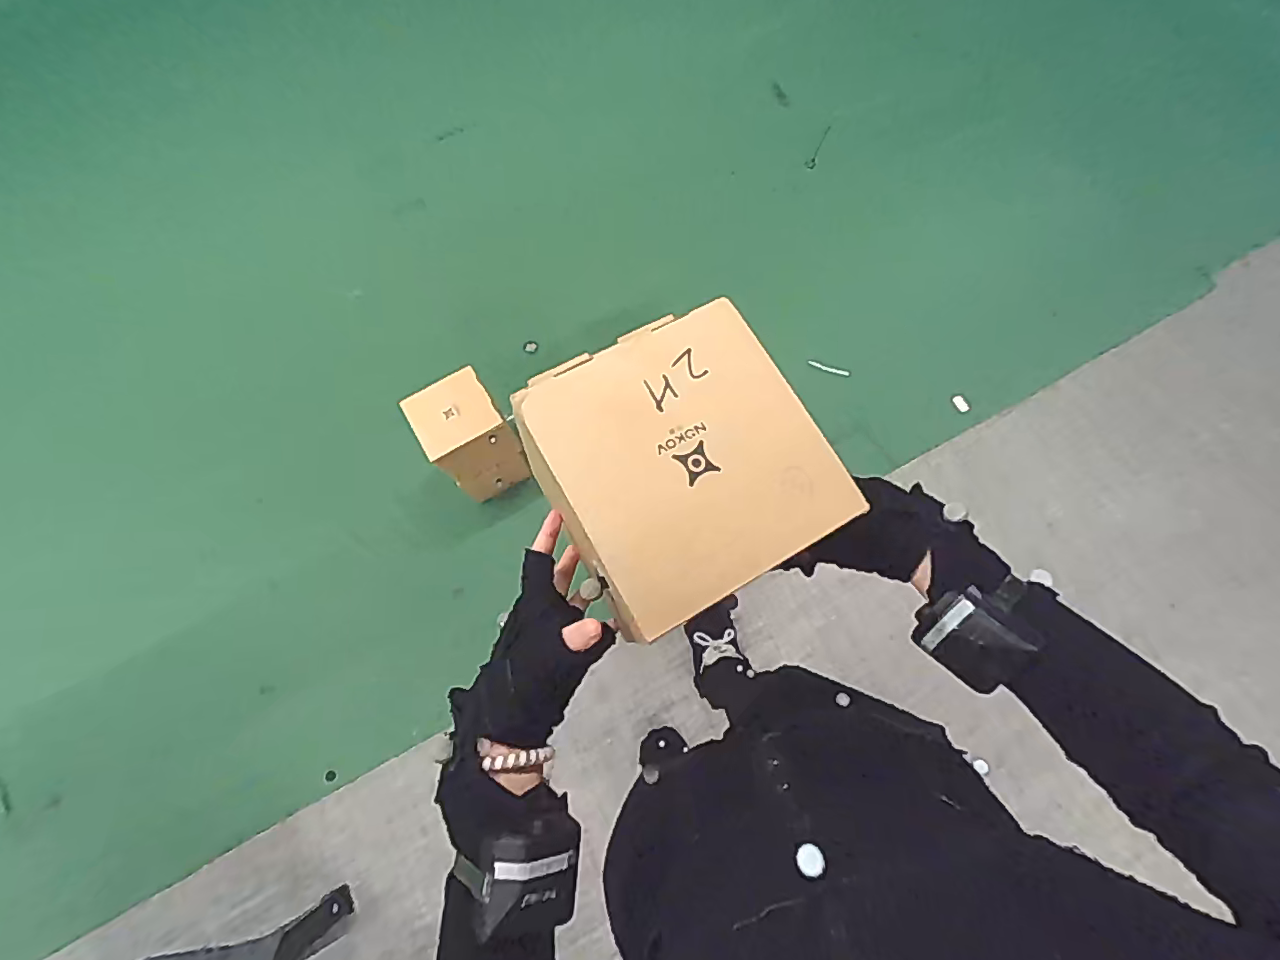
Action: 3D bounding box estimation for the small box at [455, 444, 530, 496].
[{"bbox_3d":[-0.401,-0.074,1.390,0.168,0.176,0.179,-29,76,-8],"label":"small box"}]

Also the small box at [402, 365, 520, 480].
[{"bbox_3d":[-0.400,-0.123,1.234,0.179,0.176,0.168,-31,75,-8],"label":"small box"}]

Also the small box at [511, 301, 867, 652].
[{"bbox_3d":[0.024,0.008,0.410,0.168,0.176,0.179,-28,79,-12],"label":"small box"}]
